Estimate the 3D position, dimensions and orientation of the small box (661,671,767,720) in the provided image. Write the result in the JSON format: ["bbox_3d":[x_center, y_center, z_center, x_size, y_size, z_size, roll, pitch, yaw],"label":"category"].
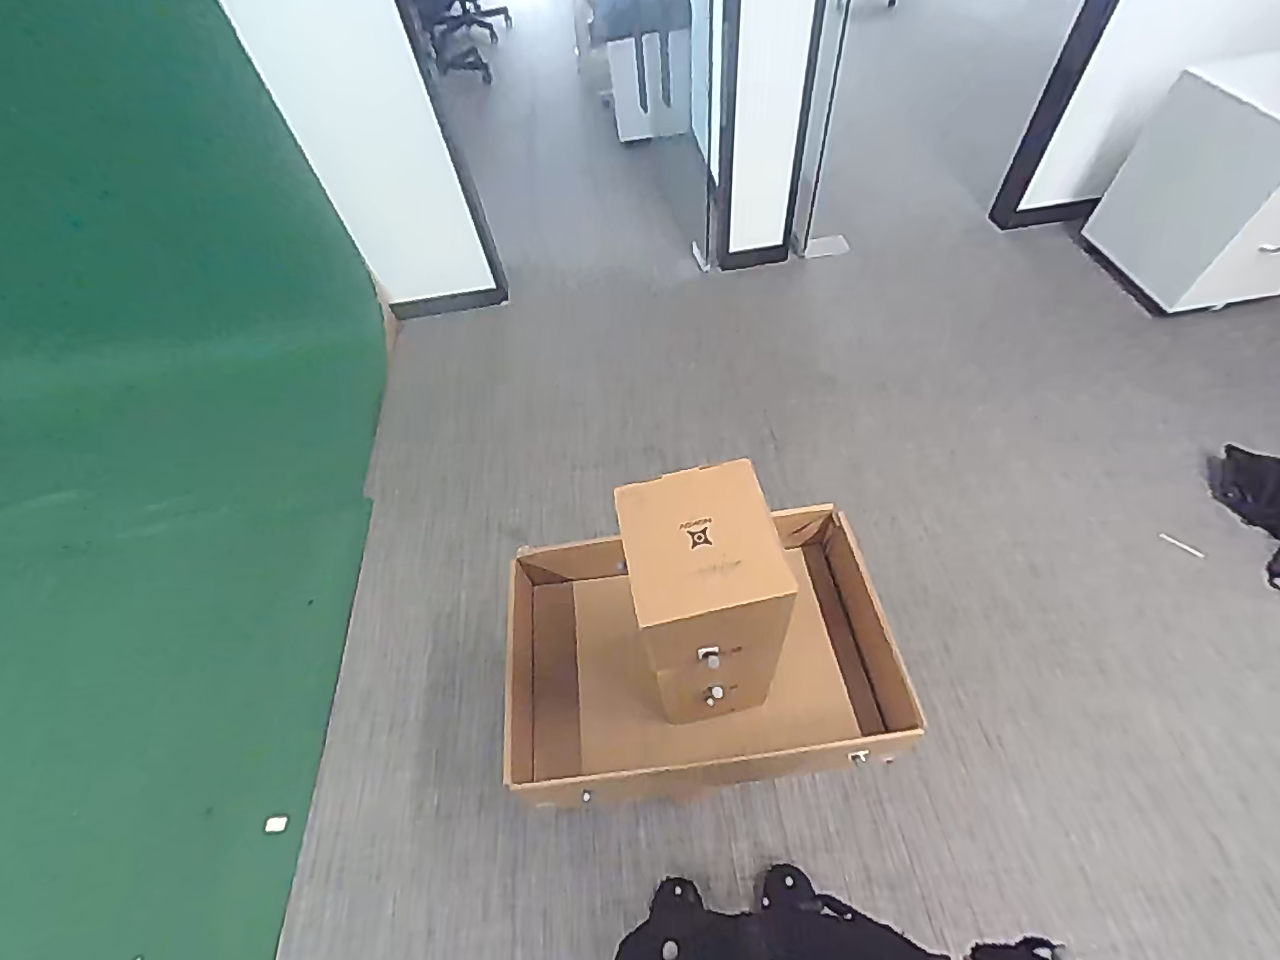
[{"bbox_3d":[0.107,0.286,0.922,0.168,0.176,0.179,-14,53,0],"label":"small box"}]

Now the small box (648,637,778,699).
[{"bbox_3d":[0.087,0.196,0.786,0.168,0.176,0.179,-12,55,-1],"label":"small box"}]

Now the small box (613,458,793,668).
[{"bbox_3d":[0.069,0.104,0.655,0.168,0.176,0.179,-13,55,0],"label":"small box"}]
